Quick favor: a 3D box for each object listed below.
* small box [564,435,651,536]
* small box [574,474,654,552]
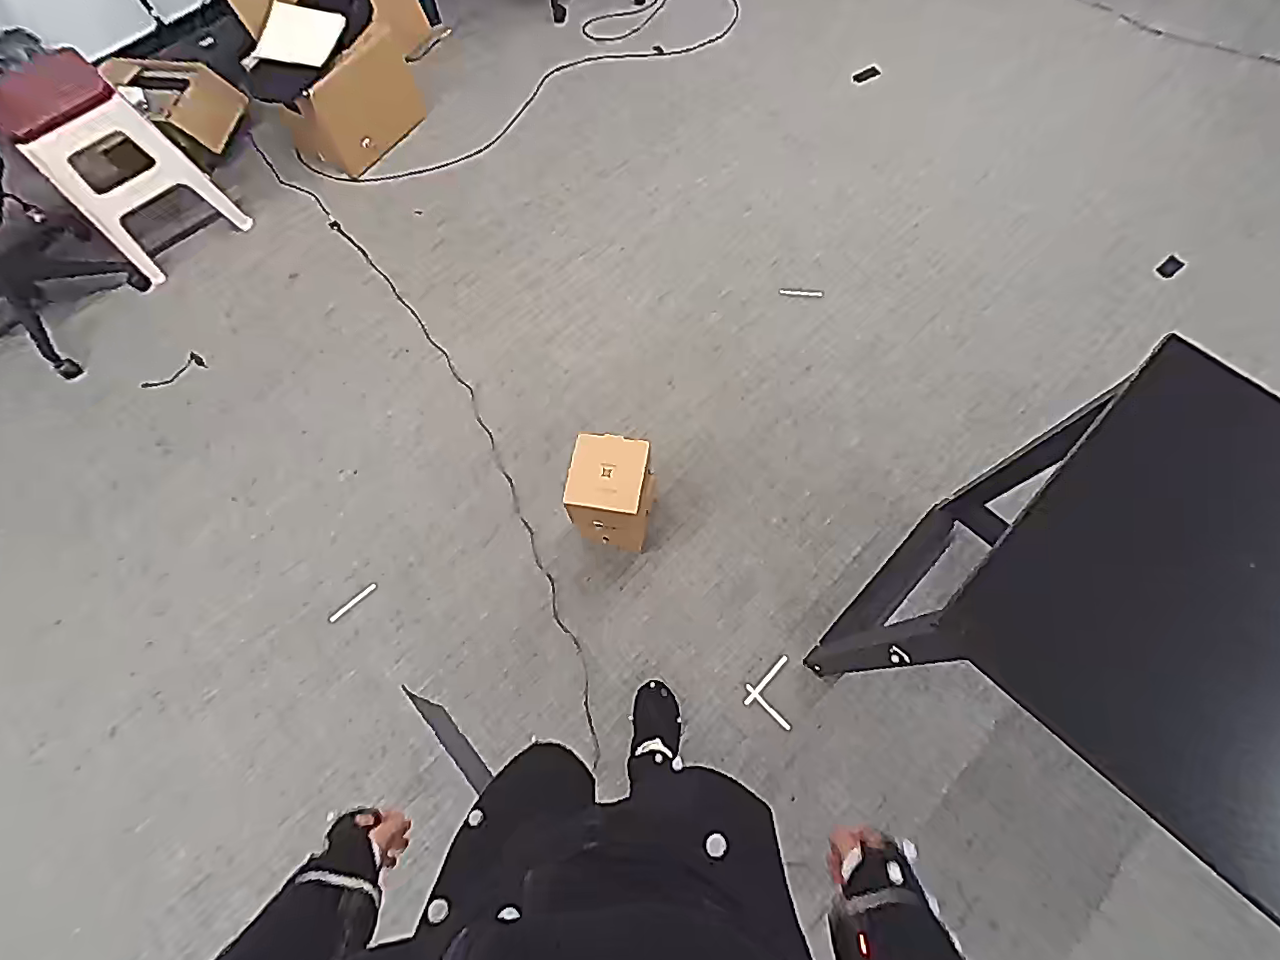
[{"bbox_3d":[-0.068,0.017,1.265,0.168,0.176,0.179,8,69,6],"label":"small box"},{"bbox_3d":[-0.061,0.077,1.417,0.168,0.176,0.179,13,68,5],"label":"small box"}]
